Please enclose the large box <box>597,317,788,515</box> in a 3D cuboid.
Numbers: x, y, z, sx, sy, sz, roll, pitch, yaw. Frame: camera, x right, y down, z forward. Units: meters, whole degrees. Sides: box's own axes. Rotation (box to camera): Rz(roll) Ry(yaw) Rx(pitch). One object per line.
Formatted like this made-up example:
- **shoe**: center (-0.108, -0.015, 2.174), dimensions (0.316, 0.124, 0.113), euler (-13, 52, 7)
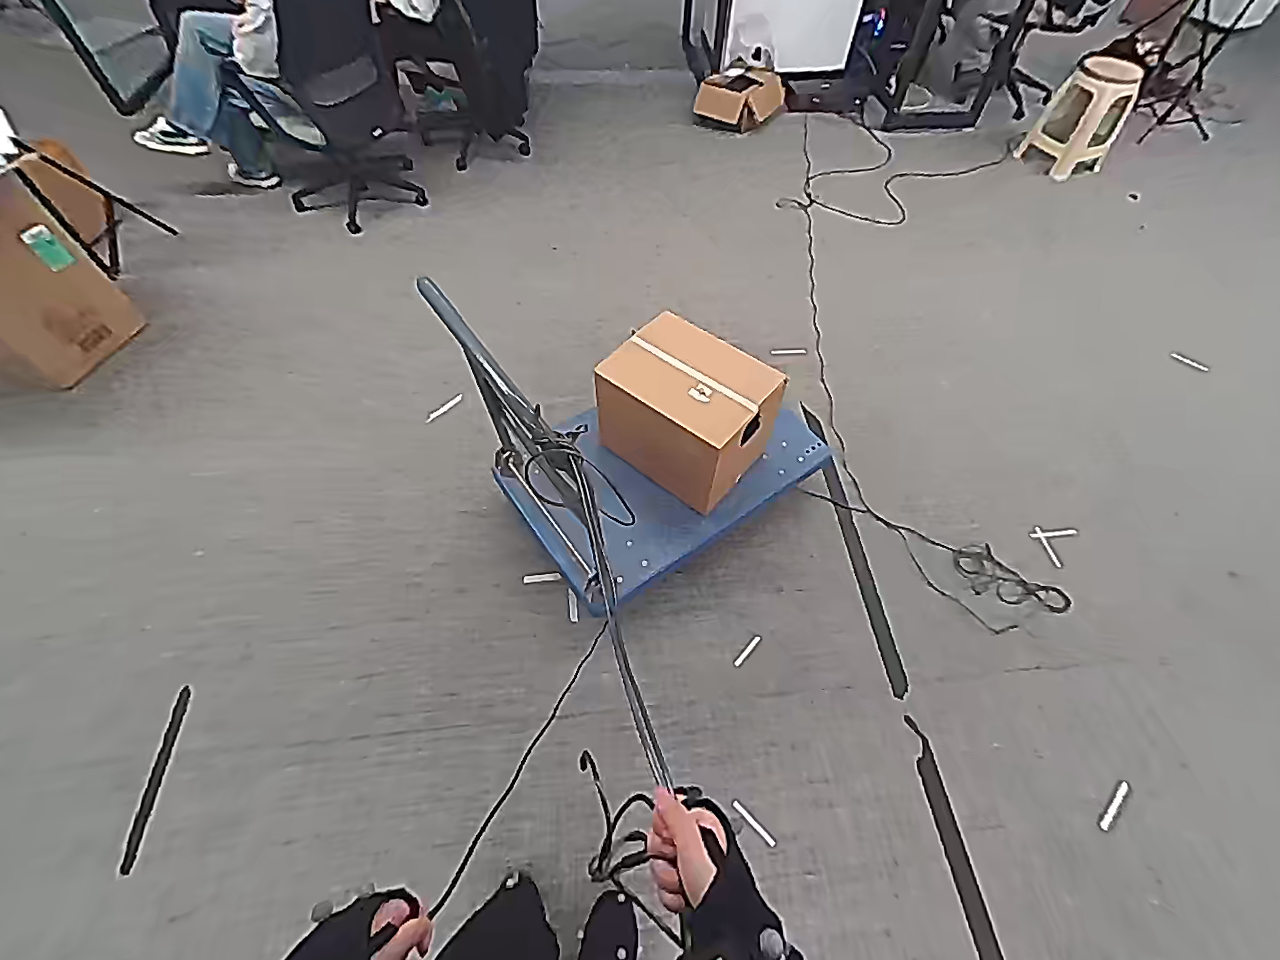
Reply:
- **large box**: center (0.128, -0.179, 1.512), dimensions (0.408, 0.320, 0.320), euler (35, 63, 20)
